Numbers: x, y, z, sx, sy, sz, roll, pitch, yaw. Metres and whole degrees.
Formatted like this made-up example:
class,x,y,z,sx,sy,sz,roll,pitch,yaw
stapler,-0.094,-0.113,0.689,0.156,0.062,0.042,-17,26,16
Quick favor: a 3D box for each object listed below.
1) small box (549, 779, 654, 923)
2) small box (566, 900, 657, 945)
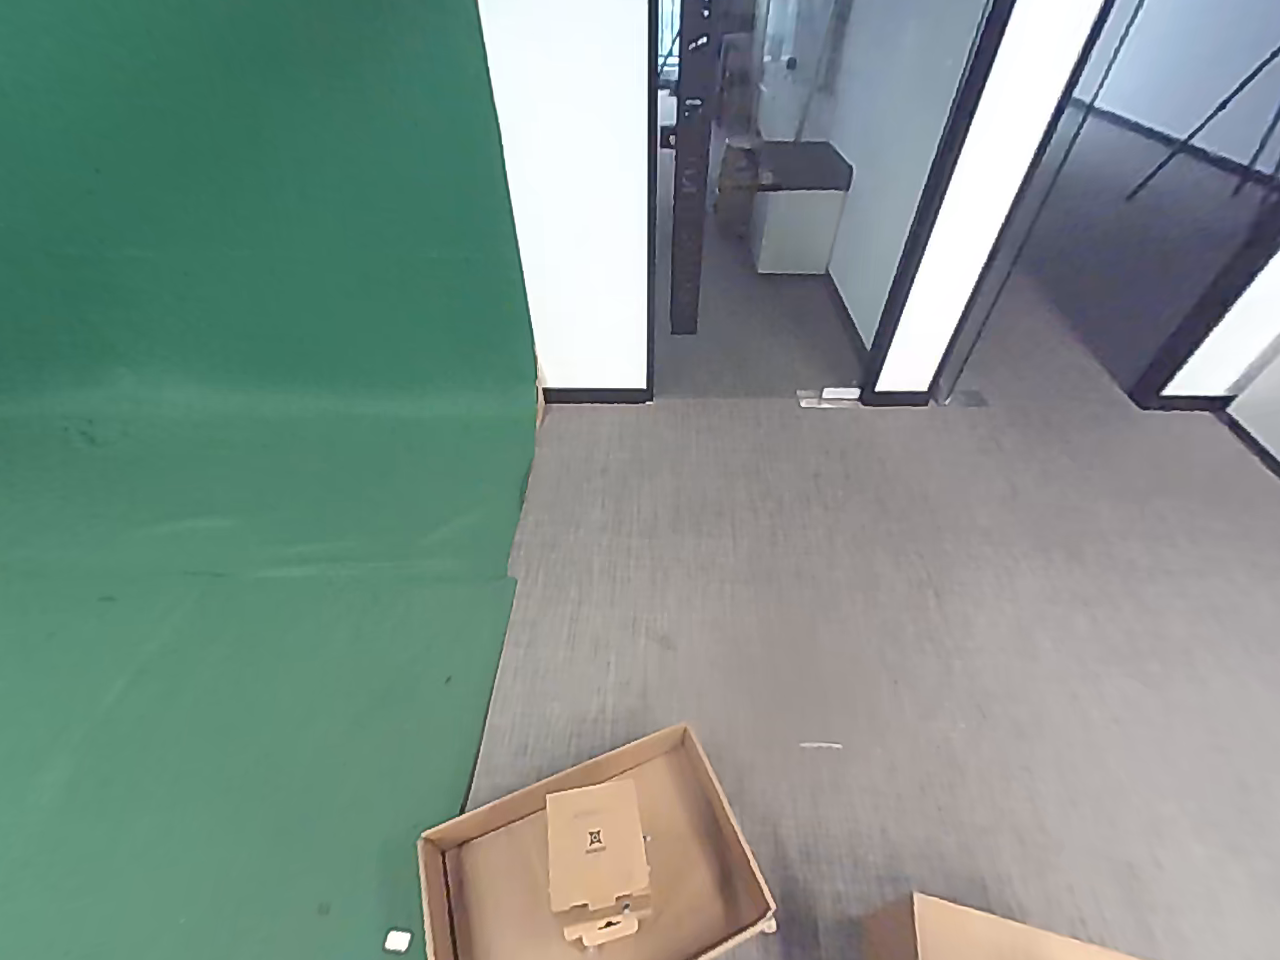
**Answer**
class,x,y,z,sx,sy,sz,roll,pitch,yaw
small box,-0.069,0.682,0.990,0.168,0.176,0.179,-8,43,-7
small box,-0.065,0.807,1.093,0.168,0.176,0.179,-12,44,-9
